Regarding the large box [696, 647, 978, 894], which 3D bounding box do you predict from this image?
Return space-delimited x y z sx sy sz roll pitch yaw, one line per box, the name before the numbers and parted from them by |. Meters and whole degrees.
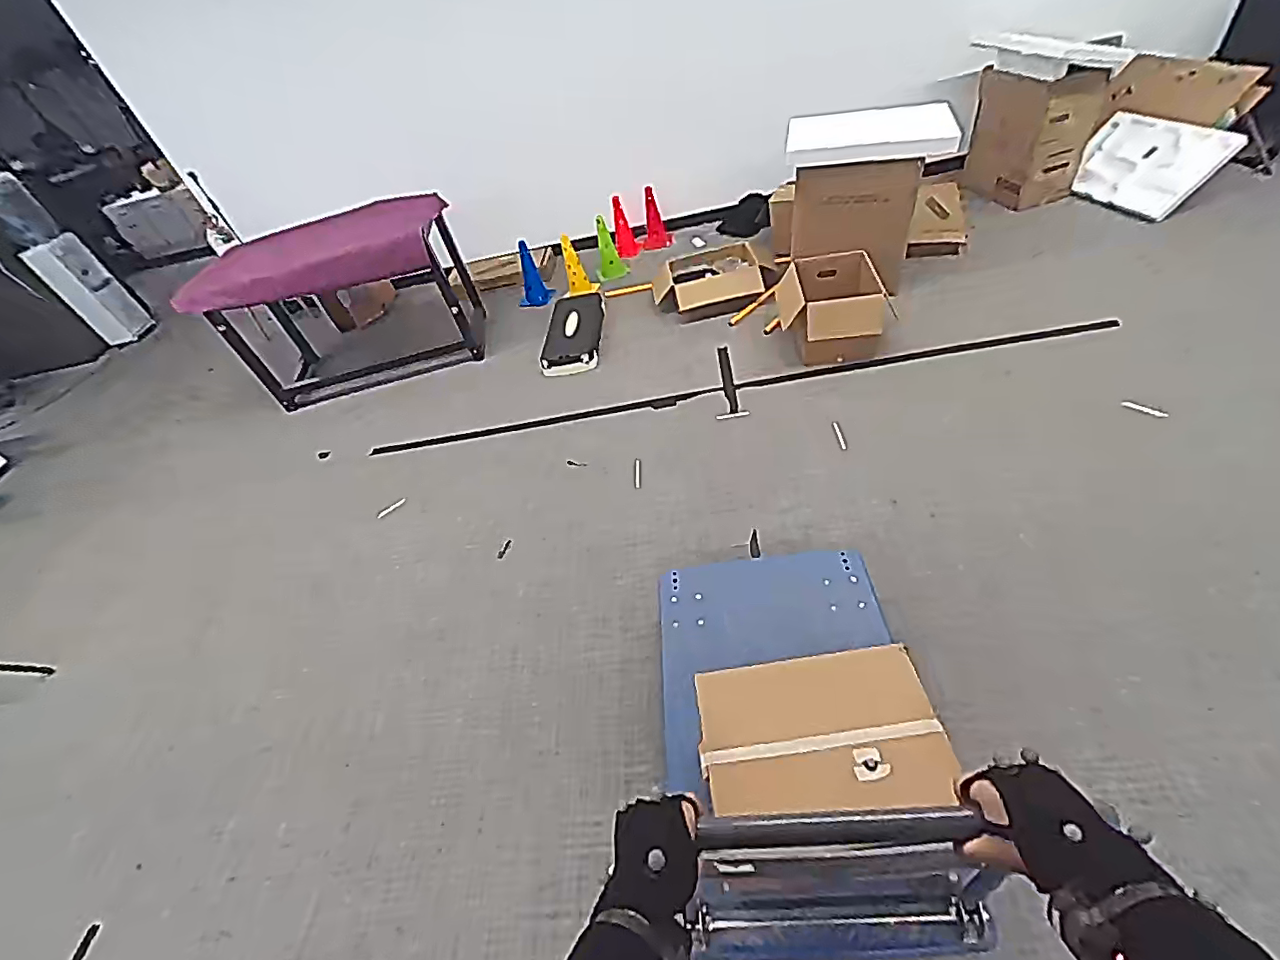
large box | 0.340 0.567 1.050 0.408 0.320 0.320 -10 45 4
